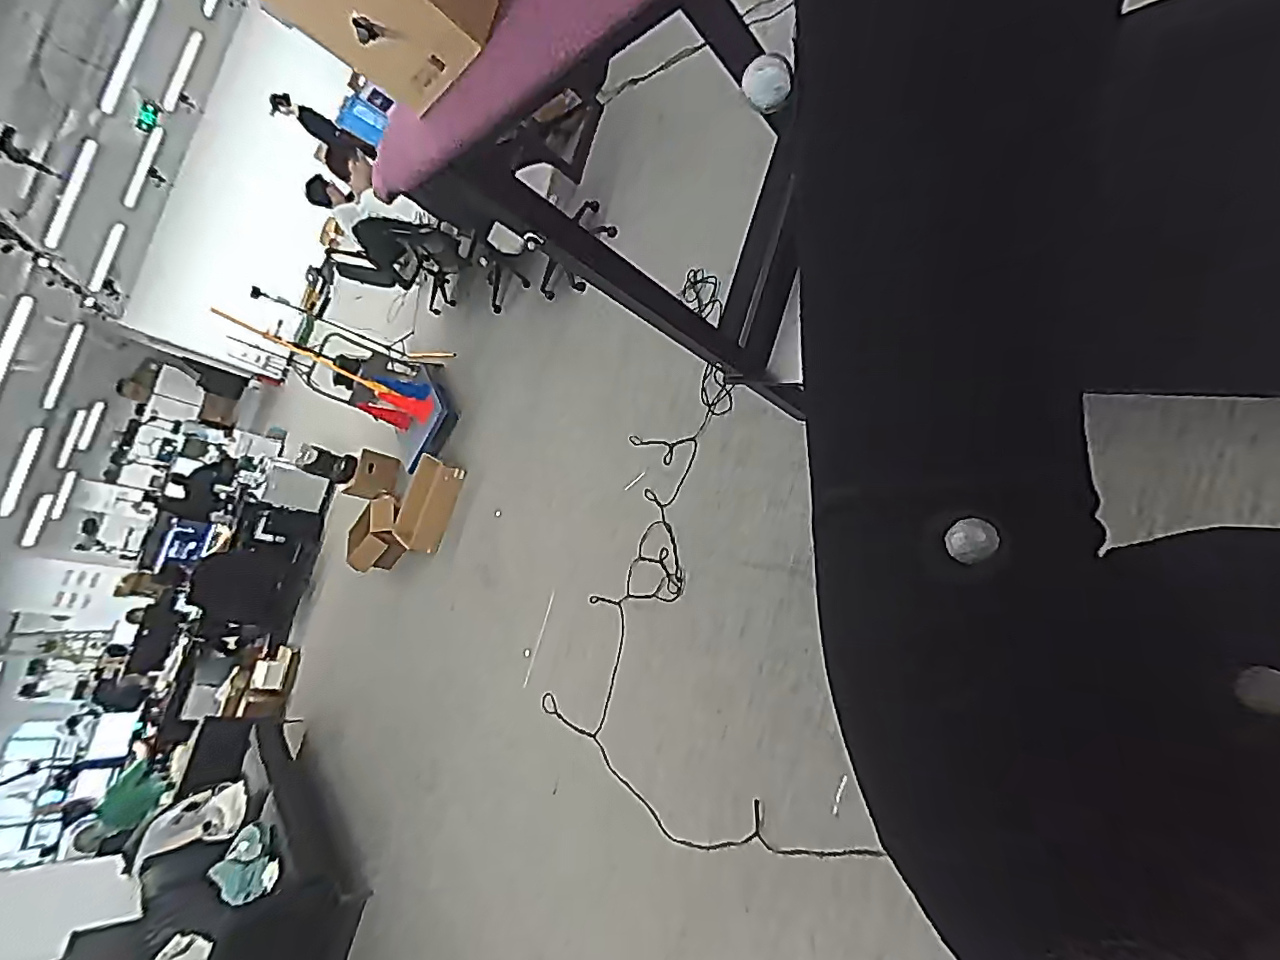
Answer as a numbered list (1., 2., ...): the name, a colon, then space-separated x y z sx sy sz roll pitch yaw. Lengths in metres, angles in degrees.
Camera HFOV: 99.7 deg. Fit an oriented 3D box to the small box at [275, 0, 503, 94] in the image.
1. small box: -0.220 -0.503 0.497 0.168 0.176 0.179 10 81 47
